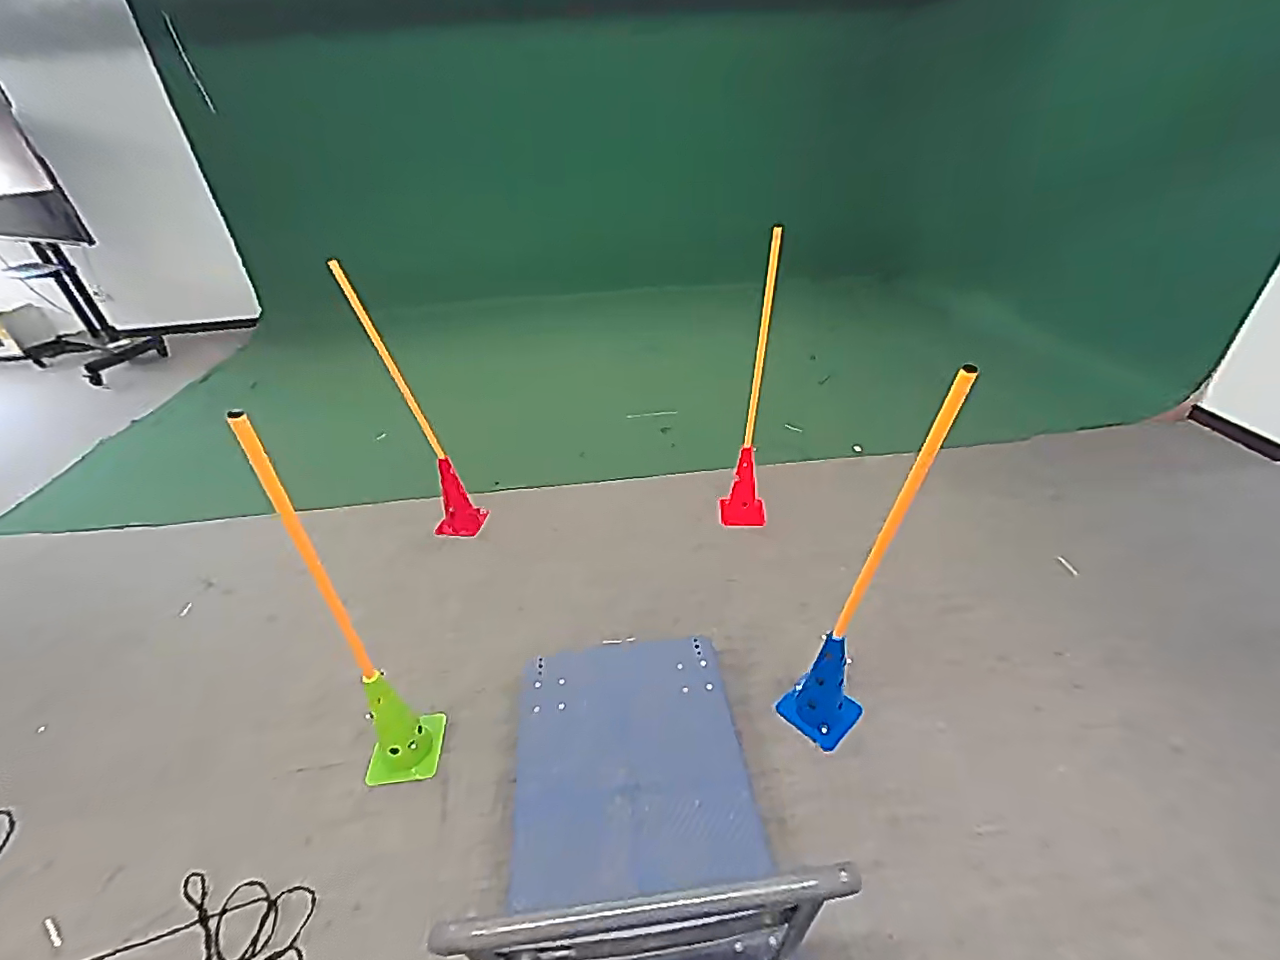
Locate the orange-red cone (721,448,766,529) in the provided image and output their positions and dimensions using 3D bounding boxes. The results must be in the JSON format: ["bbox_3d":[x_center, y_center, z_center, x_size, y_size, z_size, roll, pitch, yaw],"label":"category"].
[{"bbox_3d":[0.457,0.022,2.362,0.198,0.360,0.199,0,35,7],"label":"orange-red cone"}]
